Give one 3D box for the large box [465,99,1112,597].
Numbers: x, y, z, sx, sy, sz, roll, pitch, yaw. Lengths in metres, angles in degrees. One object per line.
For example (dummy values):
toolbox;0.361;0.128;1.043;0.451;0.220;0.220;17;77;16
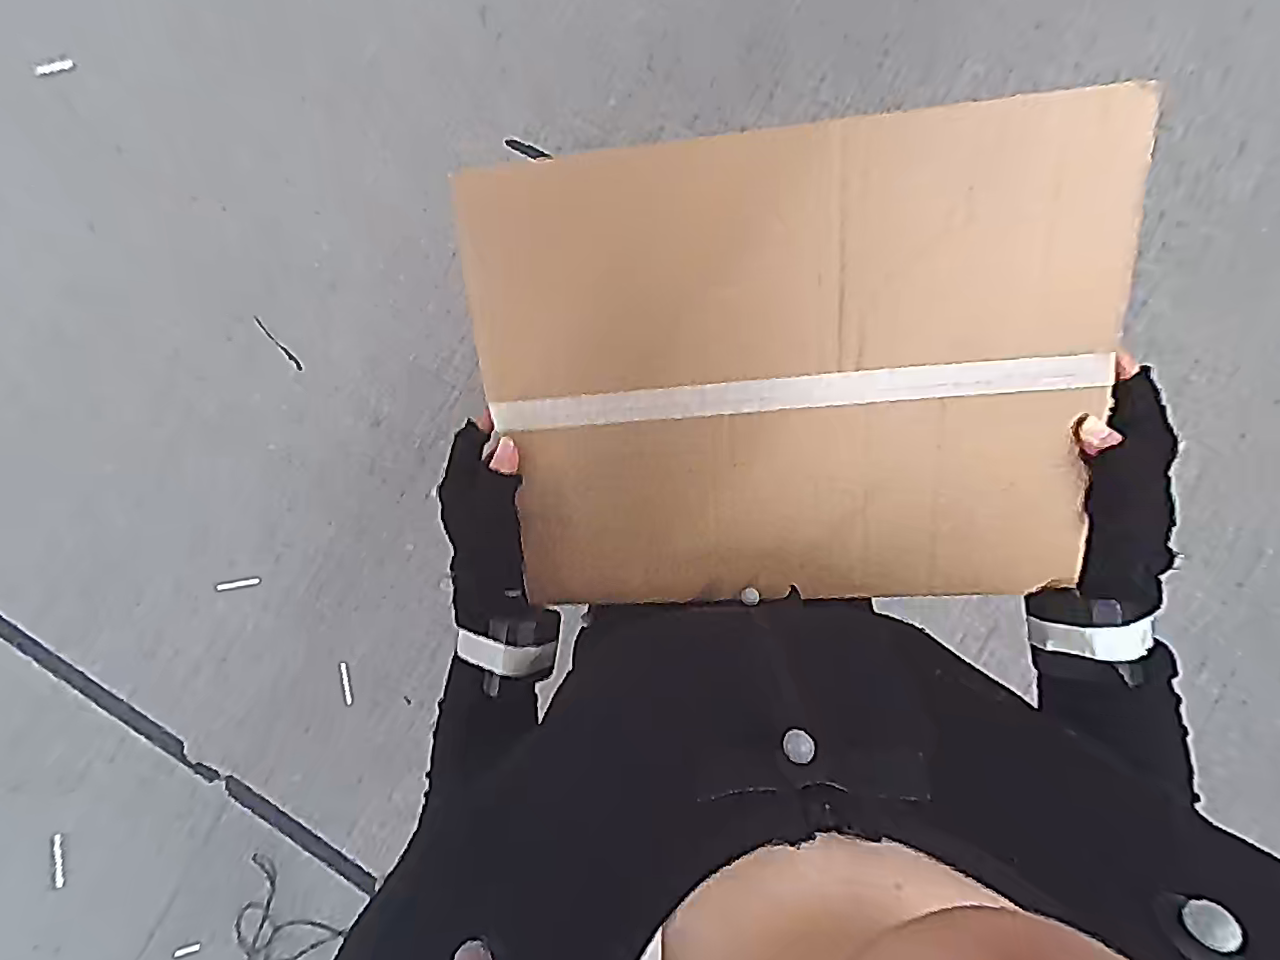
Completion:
large box;0.106;-0.107;0.521;0.408;0.320;0.320;-4;109;7
